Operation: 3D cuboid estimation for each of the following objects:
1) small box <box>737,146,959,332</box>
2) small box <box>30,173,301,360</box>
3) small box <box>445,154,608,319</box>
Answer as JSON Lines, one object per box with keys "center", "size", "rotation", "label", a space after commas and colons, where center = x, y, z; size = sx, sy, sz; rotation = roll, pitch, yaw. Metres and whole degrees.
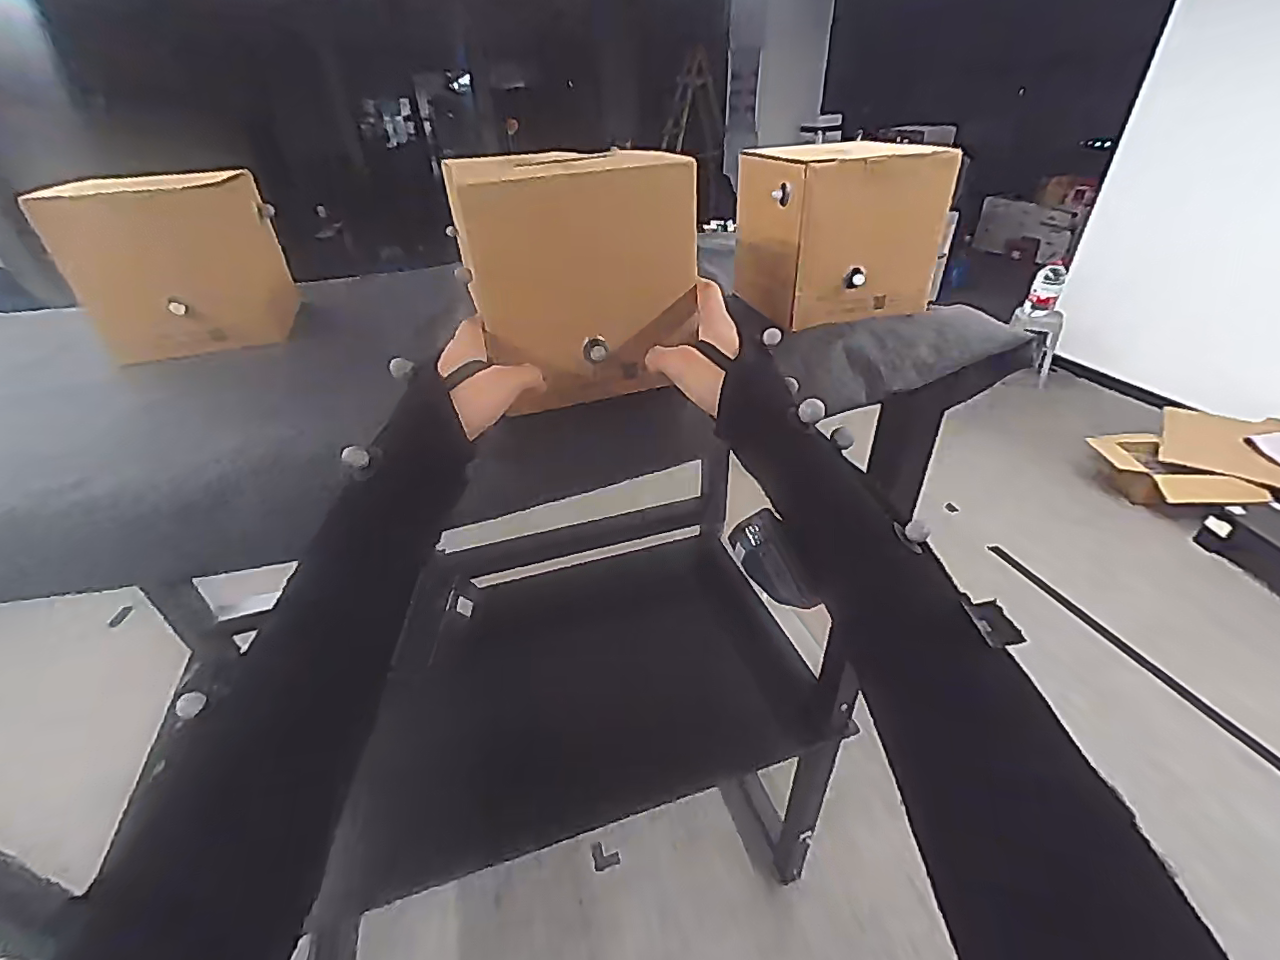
{"center": [0.219, -0.284, 0.630], "size": [0.168, 0.176, 0.179], "rotation": [-10, 35, -9], "label": "small box"}
{"center": [-0.528, -0.258, 0.642], "size": [0.168, 0.176, 0.179], "rotation": [-14, 37, -16], "label": "small box"}
{"center": [-0.145, -0.316, 0.702], "size": [0.168, 0.176, 0.179], "rotation": [-13, 35, -15], "label": "small box"}
